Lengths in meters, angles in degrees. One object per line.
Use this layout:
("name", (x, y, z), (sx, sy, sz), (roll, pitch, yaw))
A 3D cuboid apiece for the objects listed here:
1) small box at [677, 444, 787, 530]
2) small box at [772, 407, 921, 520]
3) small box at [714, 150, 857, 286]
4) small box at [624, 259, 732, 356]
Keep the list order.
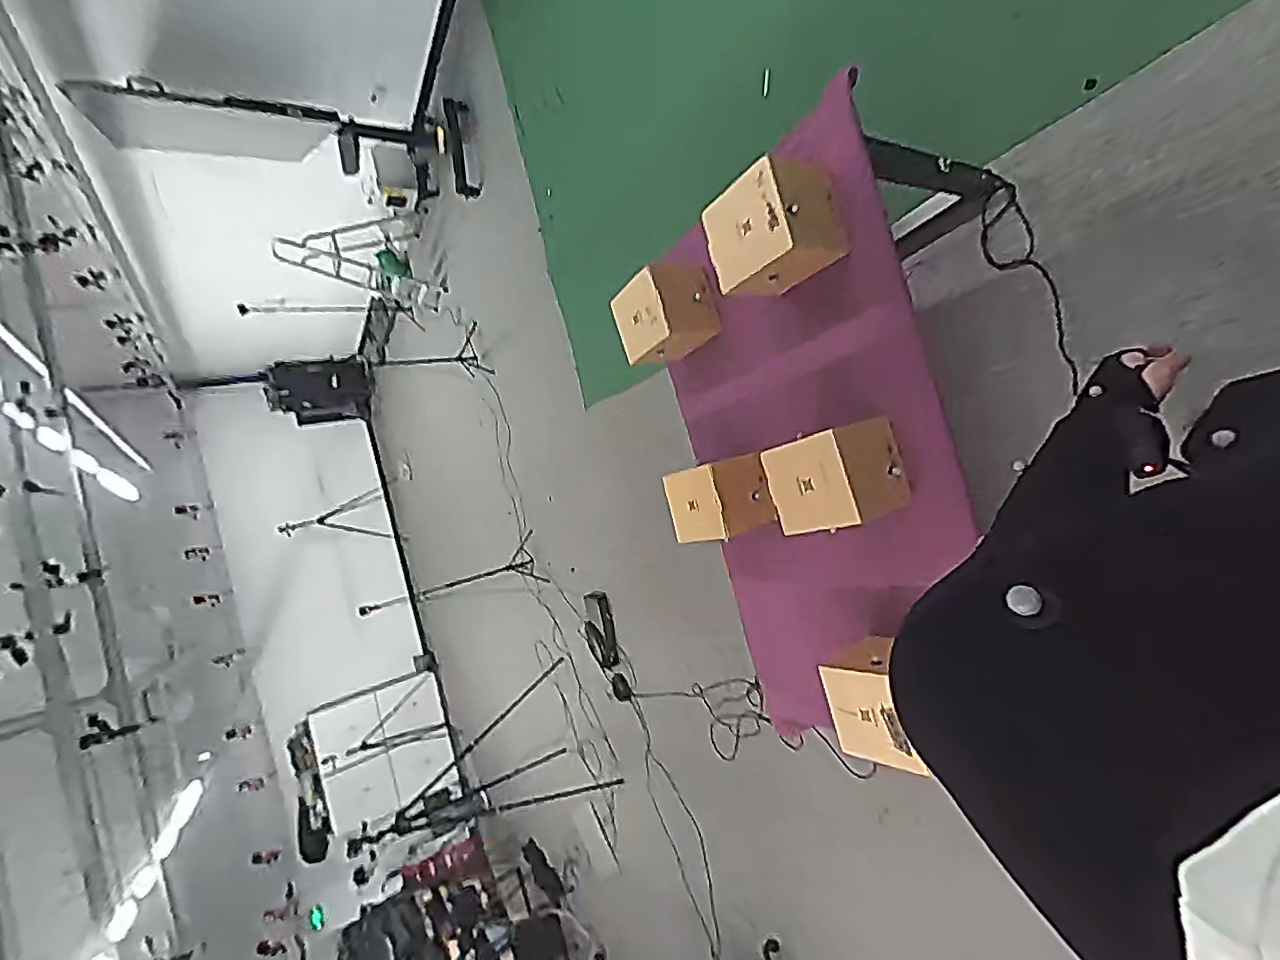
("small box", (0.220, 0.018, 1.300), (0.179, 0.176, 0.168), (-17, 87, 56))
("small box", (0.388, -0.029, 1.024), (0.179, 0.176, 0.168), (-20, 85, 58))
("small box", (0.273, -0.483, 1.023), (0.179, 0.176, 0.168), (-17, 88, 57))
("small box", (0.093, -0.420, 1.323), (0.179, 0.176, 0.168), (-22, 86, 56))
